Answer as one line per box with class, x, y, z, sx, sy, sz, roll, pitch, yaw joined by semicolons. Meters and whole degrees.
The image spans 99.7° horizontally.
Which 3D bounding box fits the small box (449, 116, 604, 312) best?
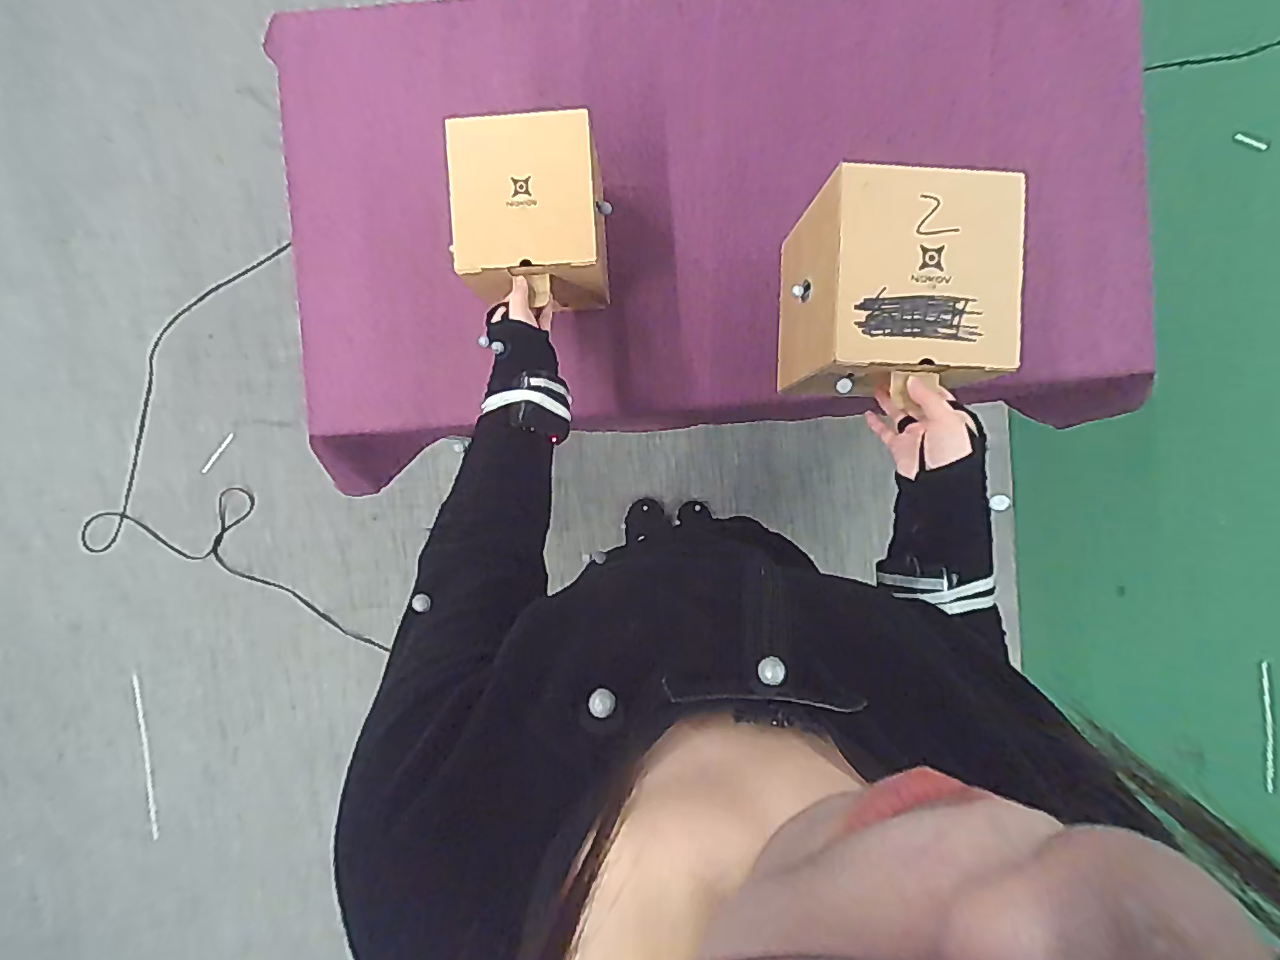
small box;-0.137;-0.334;0.708;0.168;0.176;0.179;-3;91;1
